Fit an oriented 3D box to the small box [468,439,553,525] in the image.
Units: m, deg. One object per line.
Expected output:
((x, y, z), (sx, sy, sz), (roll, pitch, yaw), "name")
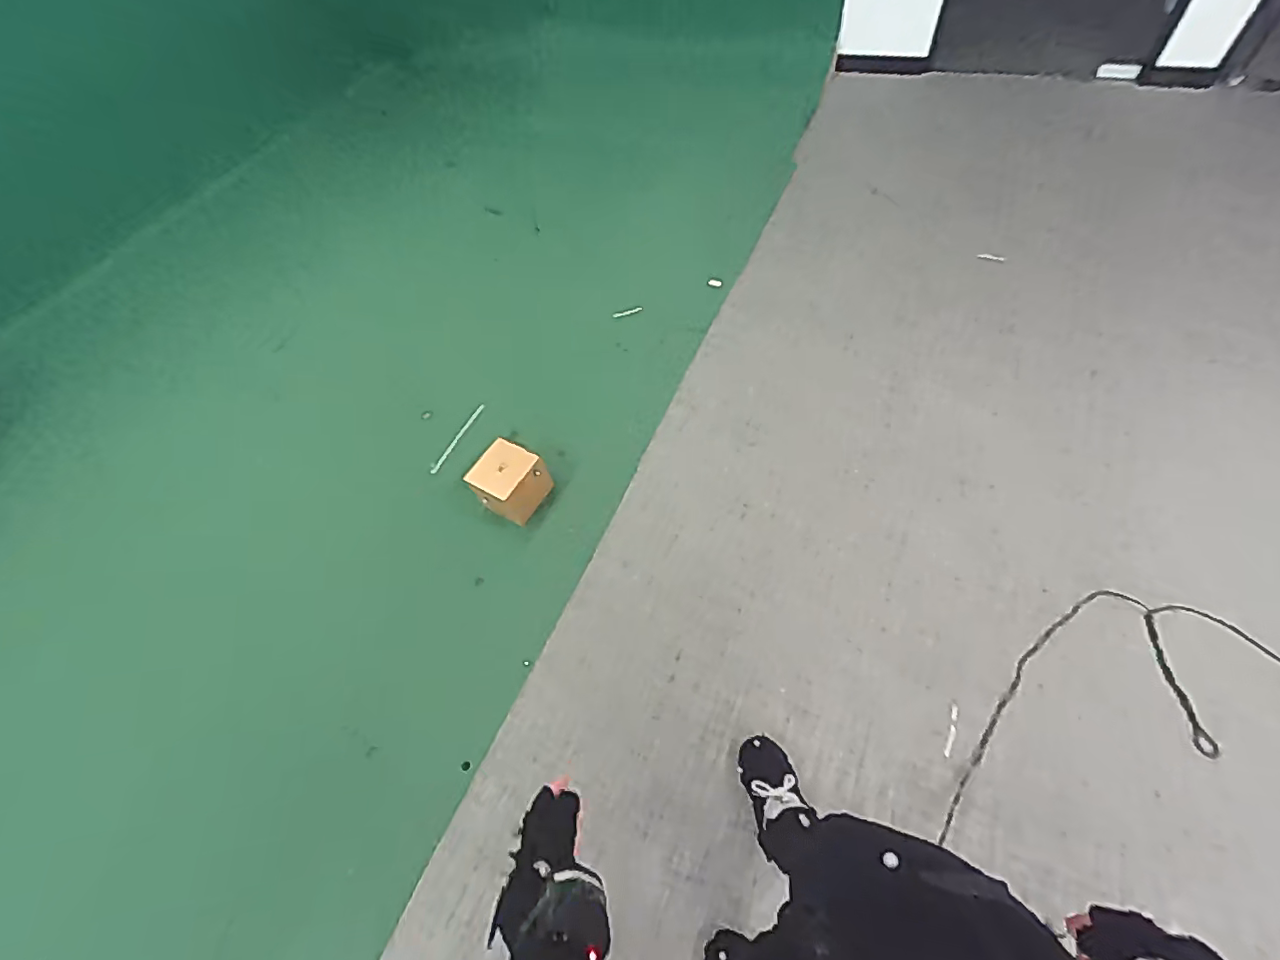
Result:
((-0.392, 0.011, 1.678), (0.168, 0.176, 0.179), (24, 64, 22), "small box")
